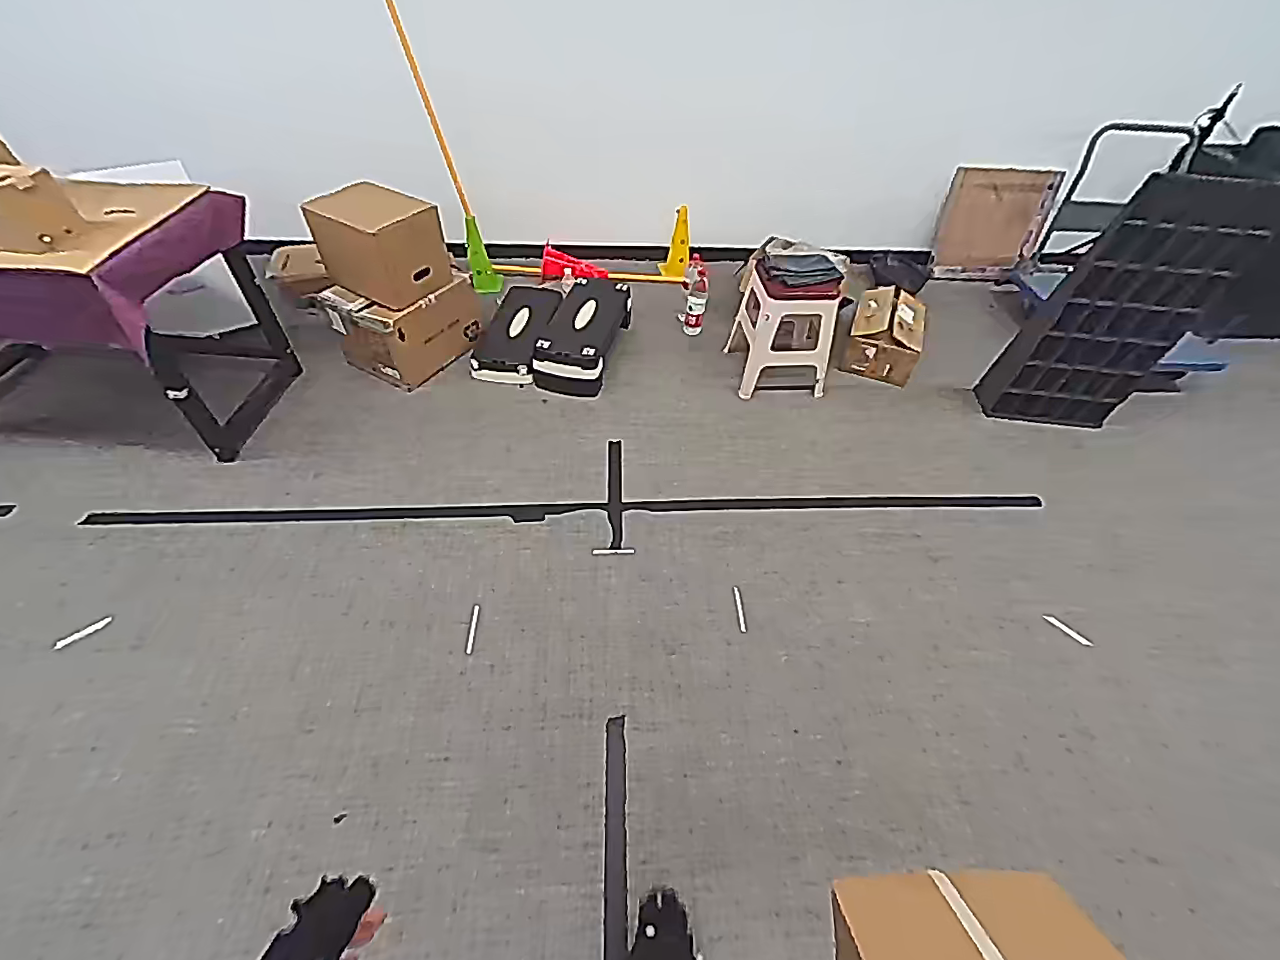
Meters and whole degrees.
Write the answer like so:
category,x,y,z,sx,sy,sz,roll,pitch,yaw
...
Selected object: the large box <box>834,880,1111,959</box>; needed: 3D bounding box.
category,x,y,z,sx,sy,sz,roll,pitch,yaw
large box,0.437,0.752,0.609,0.320,0.408,0.320,-3,91,2
